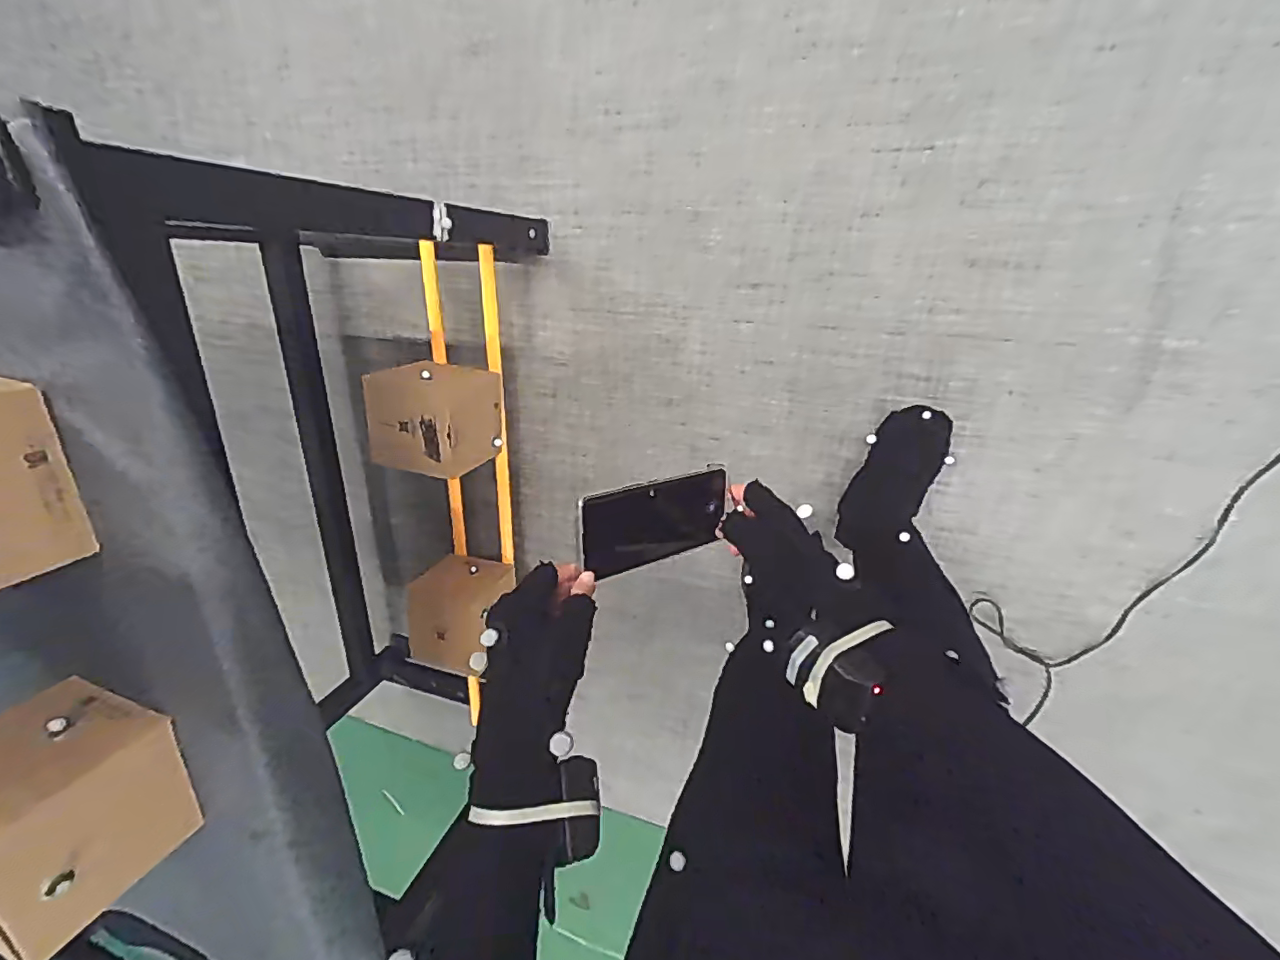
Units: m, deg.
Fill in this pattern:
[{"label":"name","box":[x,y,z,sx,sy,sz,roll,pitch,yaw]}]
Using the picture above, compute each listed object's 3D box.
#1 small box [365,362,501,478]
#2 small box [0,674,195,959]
[{"label":"small box","box":[-0.377,-0.120,1.016,0.179,0.176,0.168,12,113,15]},{"label":"small box","box":[-0.630,0.349,0.582,0.168,0.176,0.179,12,113,15]}]
